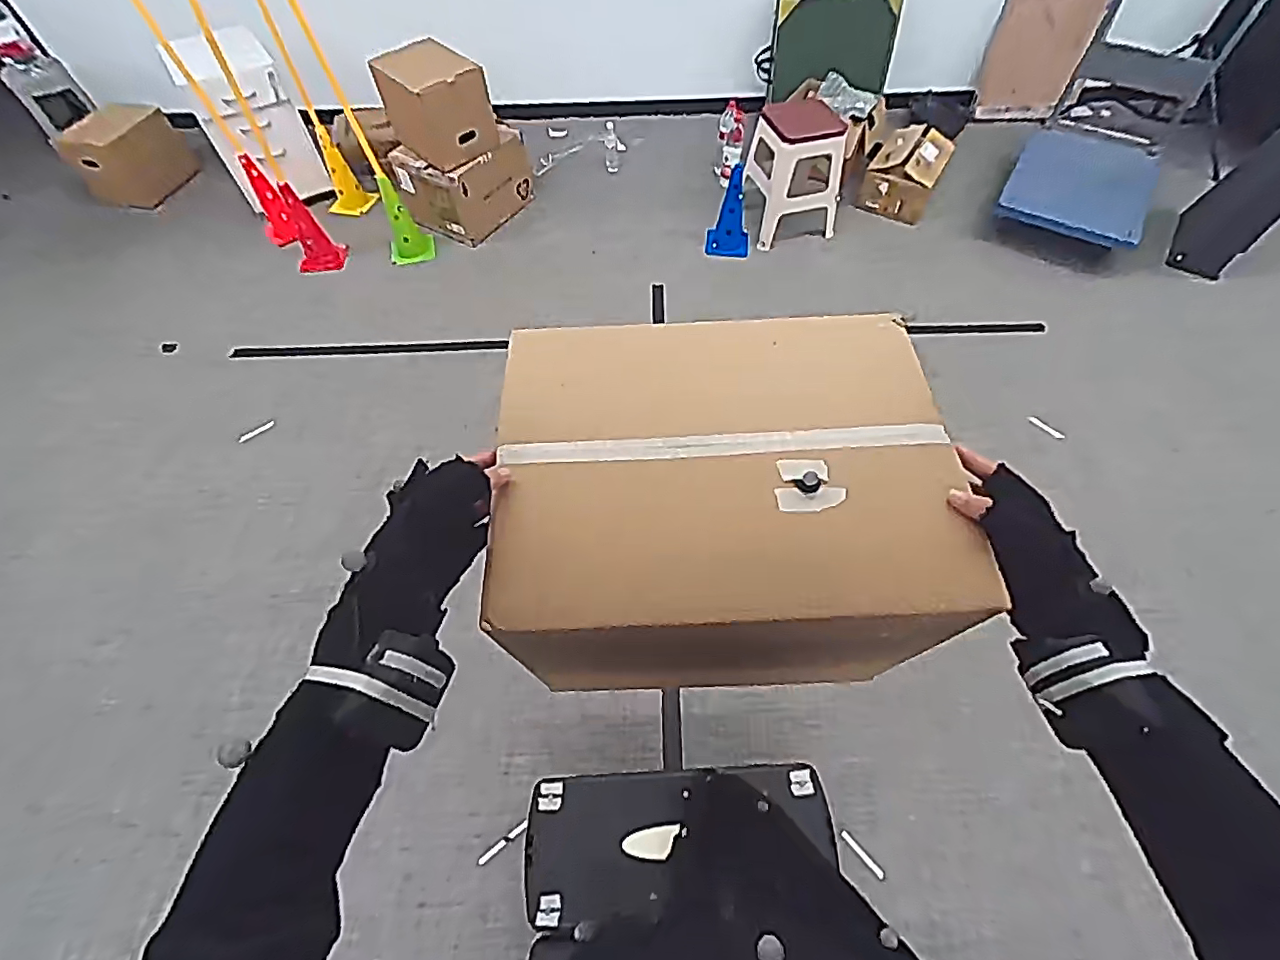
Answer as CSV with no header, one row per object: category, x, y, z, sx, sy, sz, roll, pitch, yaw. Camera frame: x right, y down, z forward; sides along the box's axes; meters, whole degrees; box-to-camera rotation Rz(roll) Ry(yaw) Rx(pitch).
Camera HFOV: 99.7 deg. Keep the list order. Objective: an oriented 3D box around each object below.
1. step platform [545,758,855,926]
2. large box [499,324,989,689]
step platform,0.126,0.820,1.244,0.684,0.204,0.286,-3,57,-2
large box,0.078,0.048,0.632,0.408,0.320,0.320,-2,61,0
